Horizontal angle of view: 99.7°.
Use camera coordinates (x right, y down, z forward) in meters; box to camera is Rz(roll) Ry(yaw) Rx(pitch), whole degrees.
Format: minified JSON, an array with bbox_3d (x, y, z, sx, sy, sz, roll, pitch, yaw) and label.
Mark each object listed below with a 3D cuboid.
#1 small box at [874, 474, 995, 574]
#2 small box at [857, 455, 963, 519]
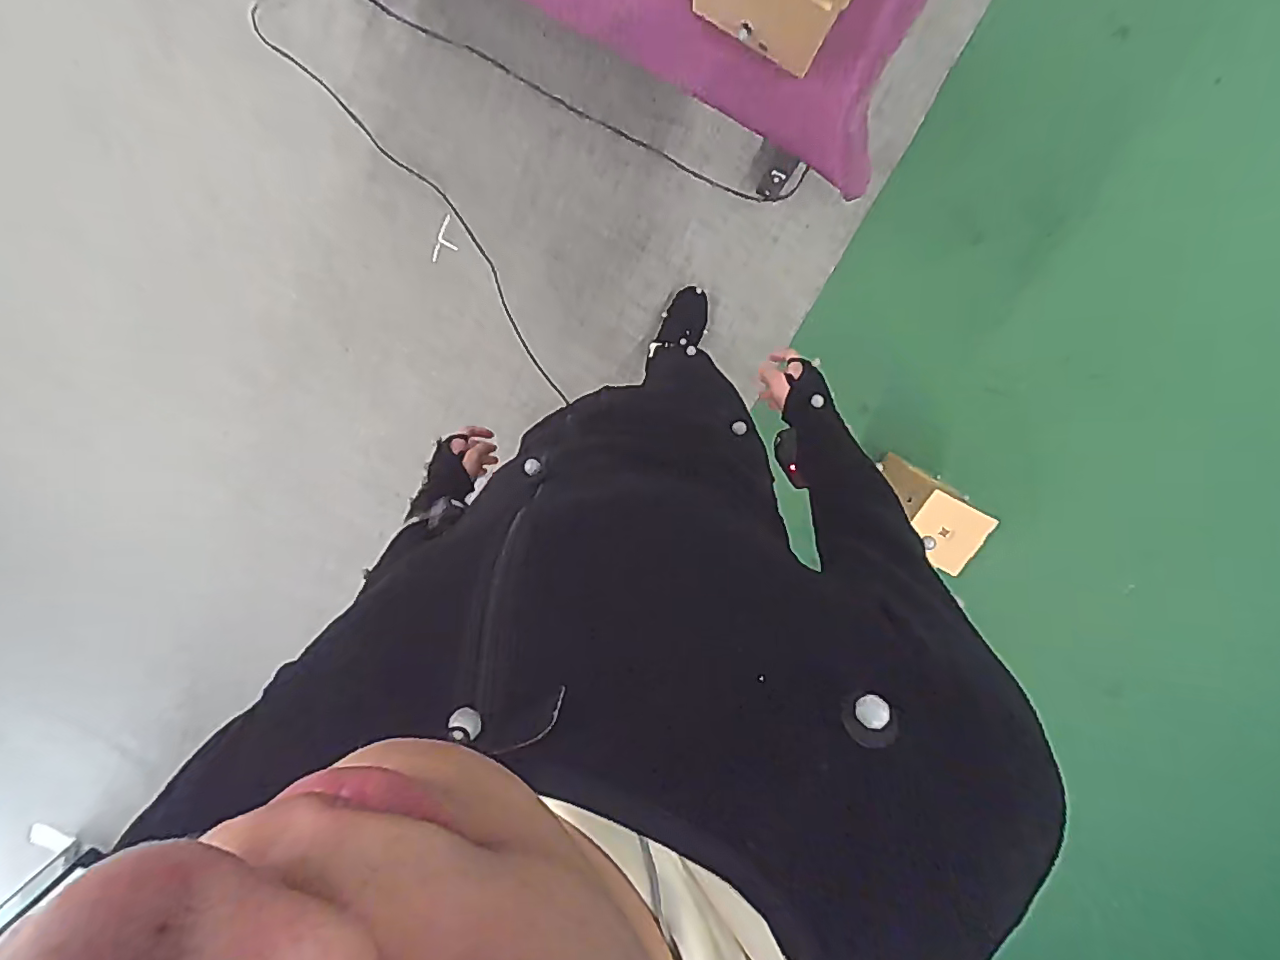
[{"bbox_3d":[0.725,0.100,1.356,0.179,0.176,0.168,27,108,-4],"label":"small box"},{"bbox_3d":[0.742,0.048,1.507,0.179,0.176,0.168,27,108,-2],"label":"small box"}]
